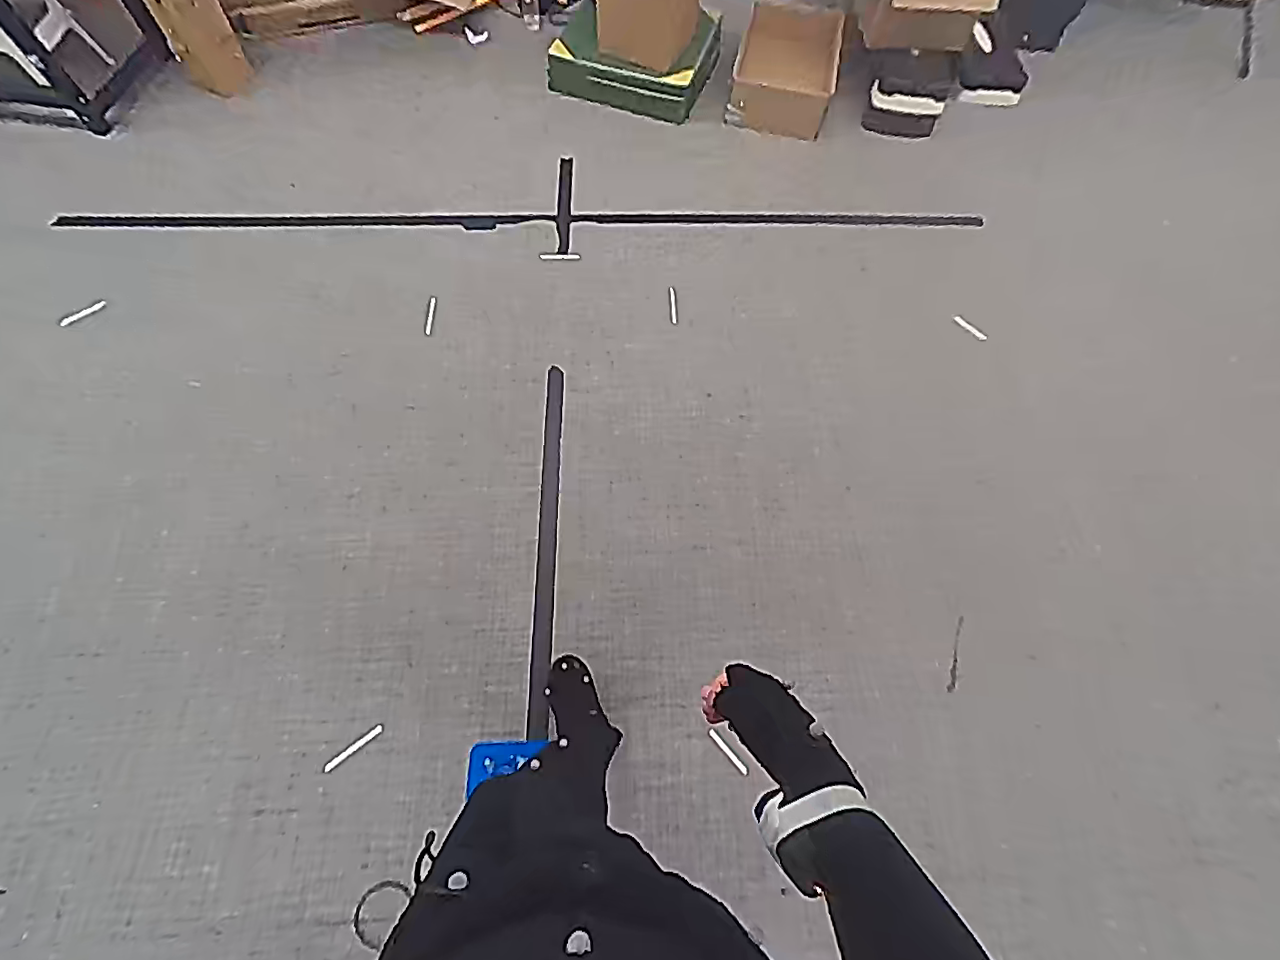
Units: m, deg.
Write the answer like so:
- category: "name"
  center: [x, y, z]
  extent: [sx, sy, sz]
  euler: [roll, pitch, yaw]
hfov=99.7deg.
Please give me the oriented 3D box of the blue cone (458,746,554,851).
- category: "blue cone"
  center: [-0.279, 0.623, 1.029]
  extent: [0.193, 0.380, 0.192]
  euler: [-2, 65, -3]
